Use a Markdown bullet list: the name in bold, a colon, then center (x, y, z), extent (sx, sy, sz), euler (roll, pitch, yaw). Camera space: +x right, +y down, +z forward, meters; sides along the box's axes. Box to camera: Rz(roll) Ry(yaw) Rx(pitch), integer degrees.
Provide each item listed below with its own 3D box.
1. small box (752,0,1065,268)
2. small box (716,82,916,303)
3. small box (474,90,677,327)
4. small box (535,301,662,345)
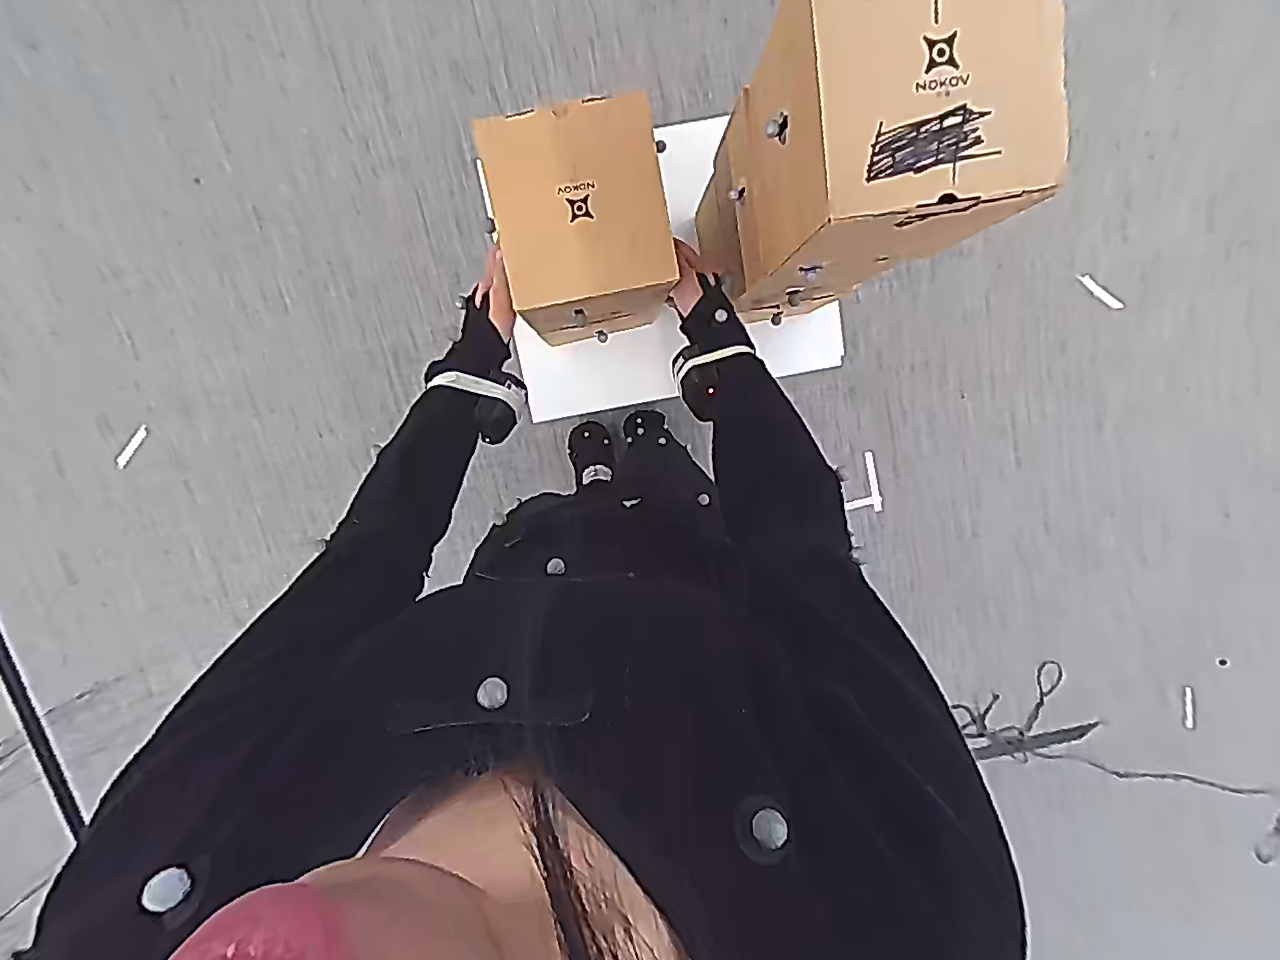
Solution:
- **small box**: center (0.195, -0.282, 0.435), extent (0.168, 0.176, 0.179), euler (-8, 97, 0)
- **small box**: center (0.186, -0.309, 0.596), extent (0.168, 0.176, 0.179), euler (-10, 99, 0)
- **small box**: center (-0.062, -0.272, 0.588), extent (0.168, 0.176, 0.179), euler (-12, 98, -2)
- **small box**: center (-0.073, -0.297, 0.749), extent (0.168, 0.176, 0.179), euler (-13, 99, -1)
